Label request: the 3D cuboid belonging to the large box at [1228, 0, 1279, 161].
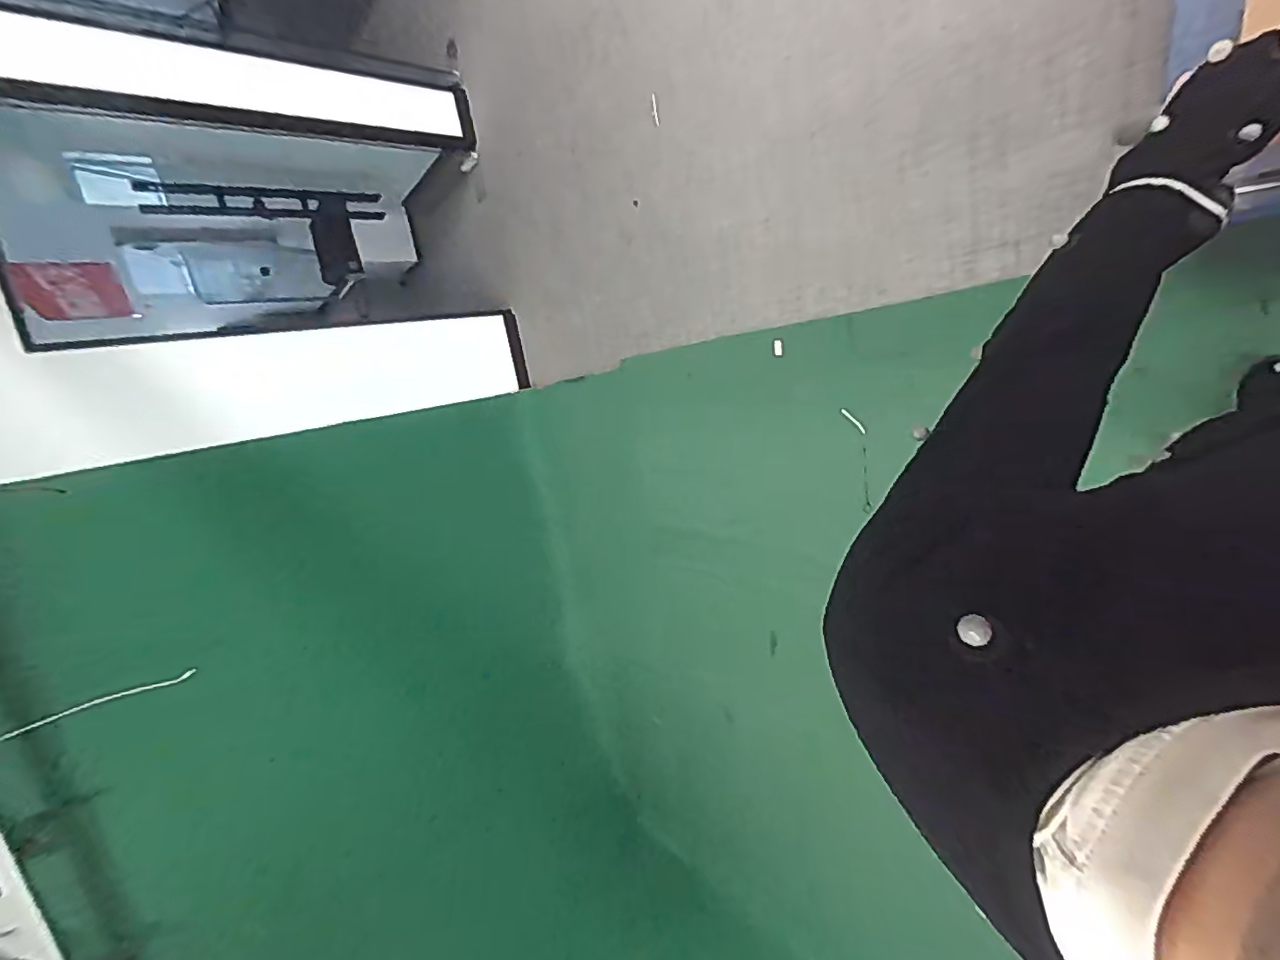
[{"bbox_3d":[0.981,-0.675,0.659,0.320,0.320,0.408,9,110,49],"label":"large box"}]
